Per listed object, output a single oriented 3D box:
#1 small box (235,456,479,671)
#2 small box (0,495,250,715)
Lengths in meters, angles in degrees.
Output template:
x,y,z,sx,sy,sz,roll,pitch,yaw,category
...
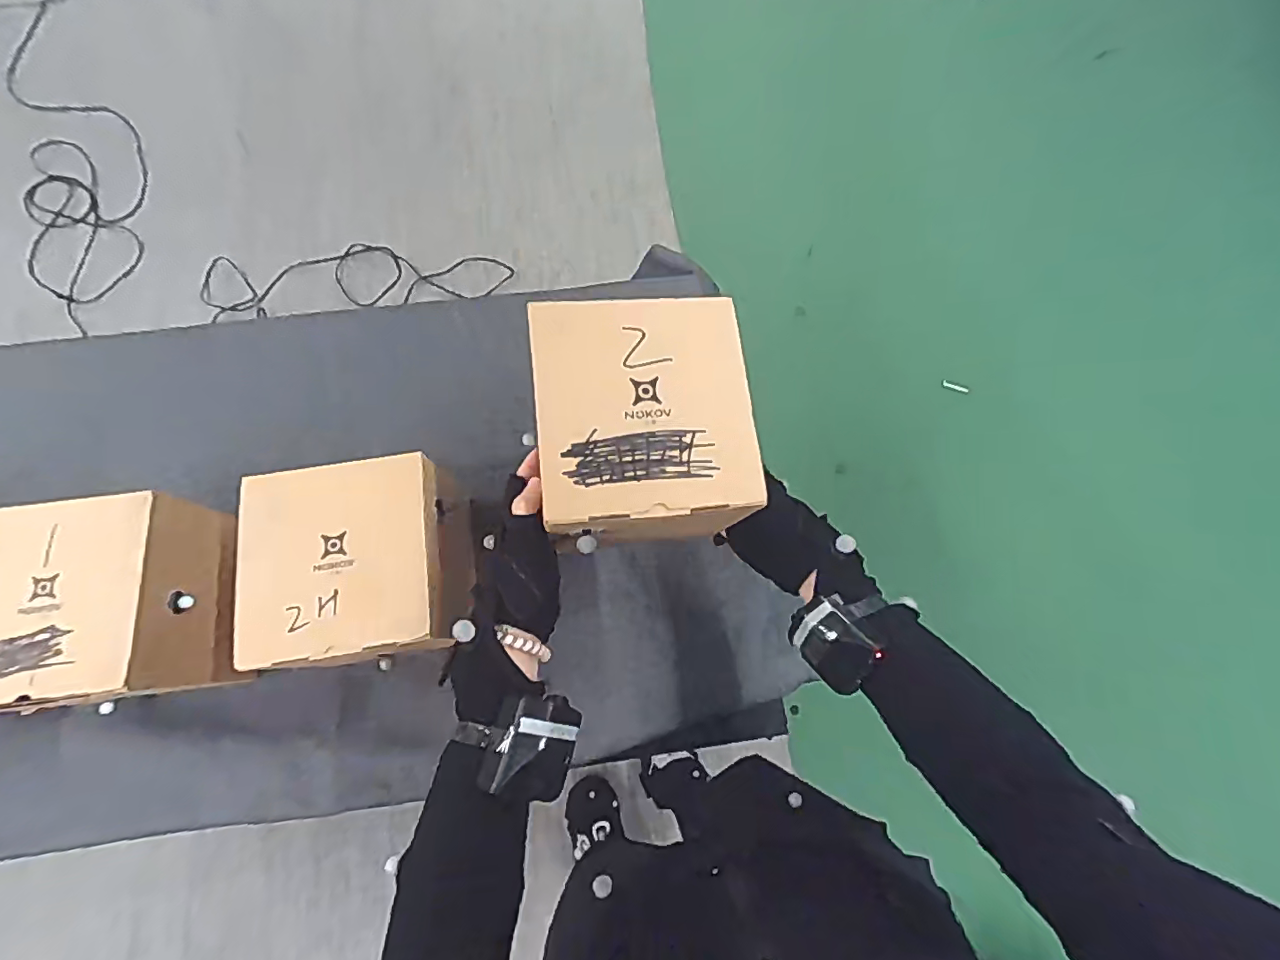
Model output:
x,y,z,sx,sy,sz,roll,pitch,yaw,category
-0.271,0.093,0.556,0.168,0.176,0.179,-8,74,-5,small box
-0.511,0.127,0.537,0.168,0.176,0.179,-6,73,-4,small box
